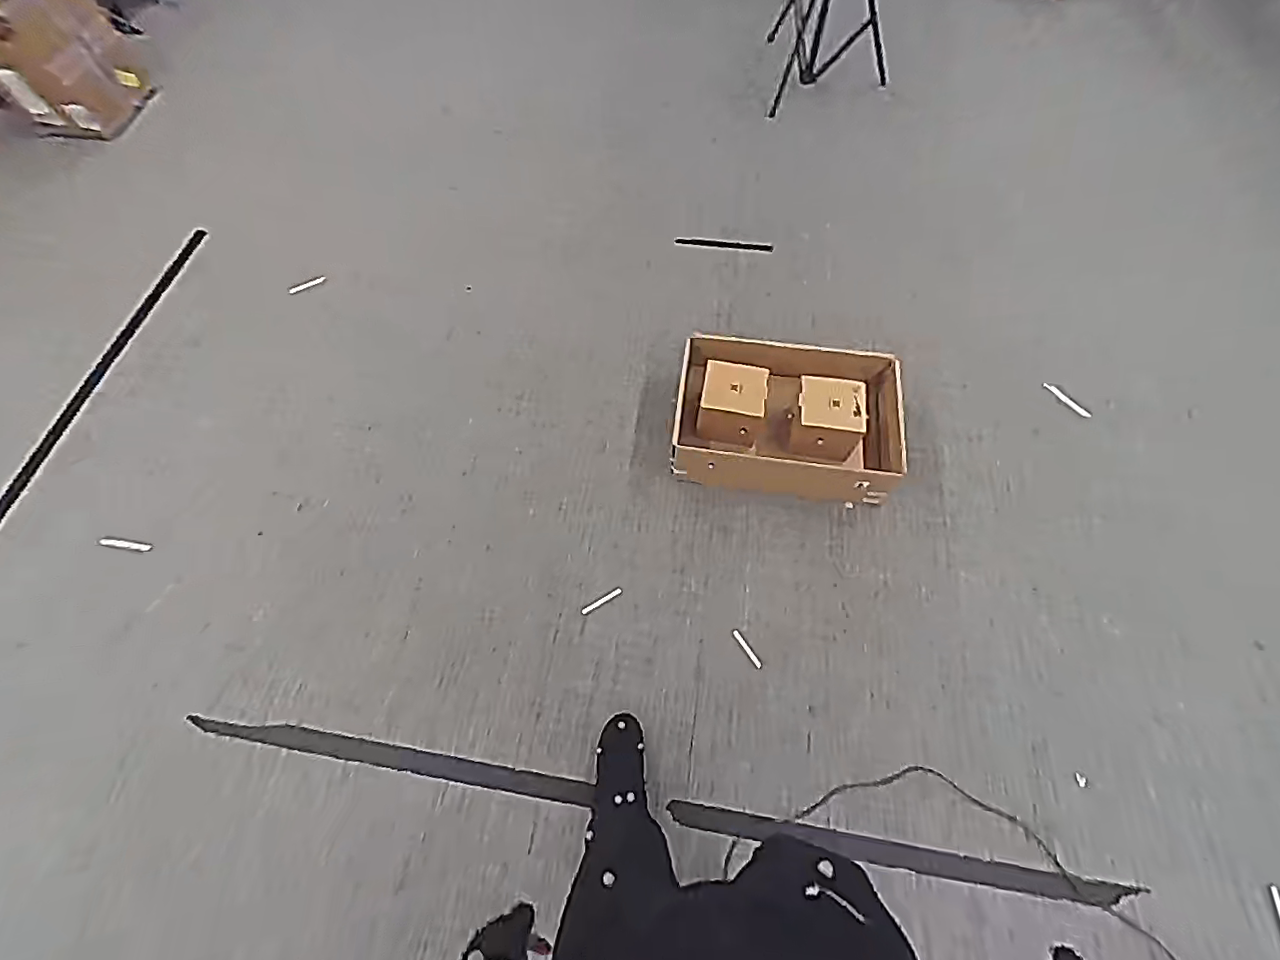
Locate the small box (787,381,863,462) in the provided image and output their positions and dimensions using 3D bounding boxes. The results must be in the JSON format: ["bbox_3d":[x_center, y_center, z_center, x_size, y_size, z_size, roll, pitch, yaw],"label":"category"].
[{"bbox_3d":[0.523,-0.163,1.546,0.179,0.176,0.168,6,65,6],"label":"small box"}]

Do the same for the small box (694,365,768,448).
[{"bbox_3d":[0.261,-0.208,1.569,0.179,0.176,0.168,10,64,5],"label":"small box"}]
